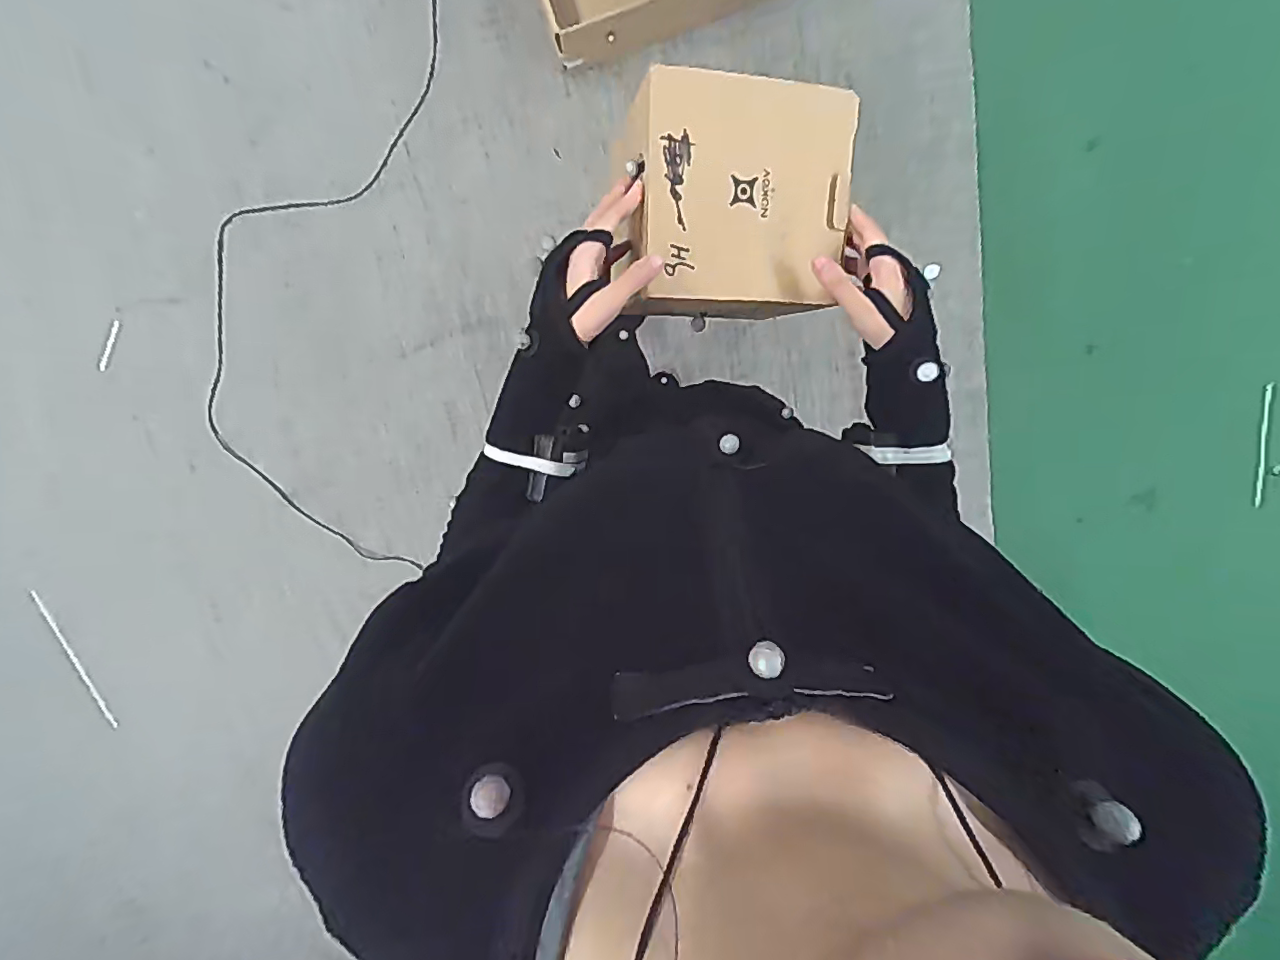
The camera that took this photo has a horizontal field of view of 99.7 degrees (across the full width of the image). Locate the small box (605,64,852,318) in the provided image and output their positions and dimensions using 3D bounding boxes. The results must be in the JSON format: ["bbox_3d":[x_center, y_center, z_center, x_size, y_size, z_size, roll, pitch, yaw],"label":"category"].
[{"bbox_3d":[0.068,-0.248,0.513,0.179,0.176,0.168,-1,102,-12],"label":"small box"}]
